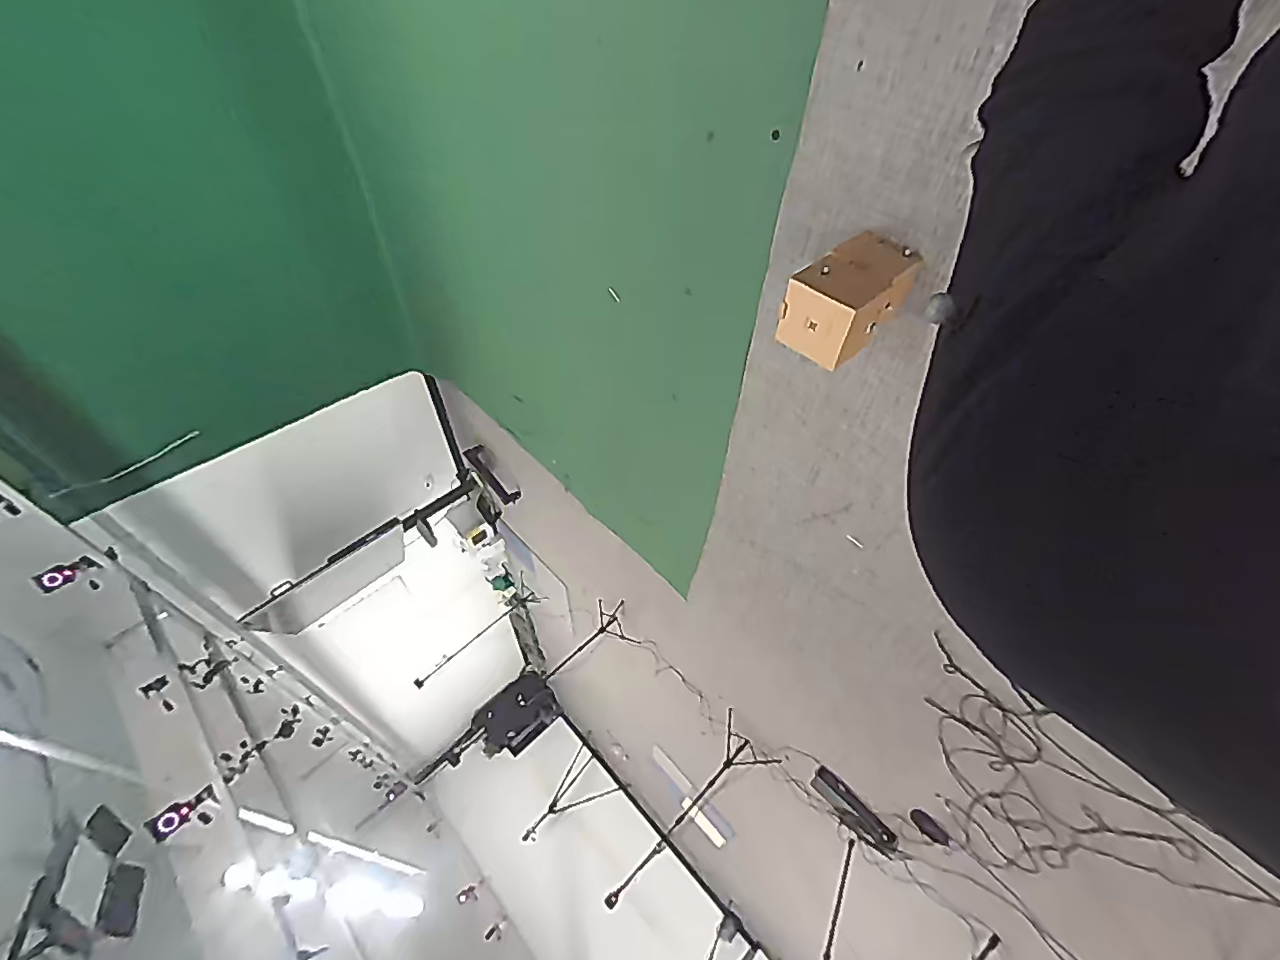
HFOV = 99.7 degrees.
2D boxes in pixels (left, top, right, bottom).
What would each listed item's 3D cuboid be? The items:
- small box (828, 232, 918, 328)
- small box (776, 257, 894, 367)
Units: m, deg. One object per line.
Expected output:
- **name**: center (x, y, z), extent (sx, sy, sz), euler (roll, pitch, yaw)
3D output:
- **small box**: center (0.560, -0.490, 1.354), extent (0.168, 0.176, 0.179), euler (41, 150, 24)
- **small box**: center (0.453, -0.401, 1.268), extent (0.179, 0.176, 0.168), euler (39, 150, 26)
